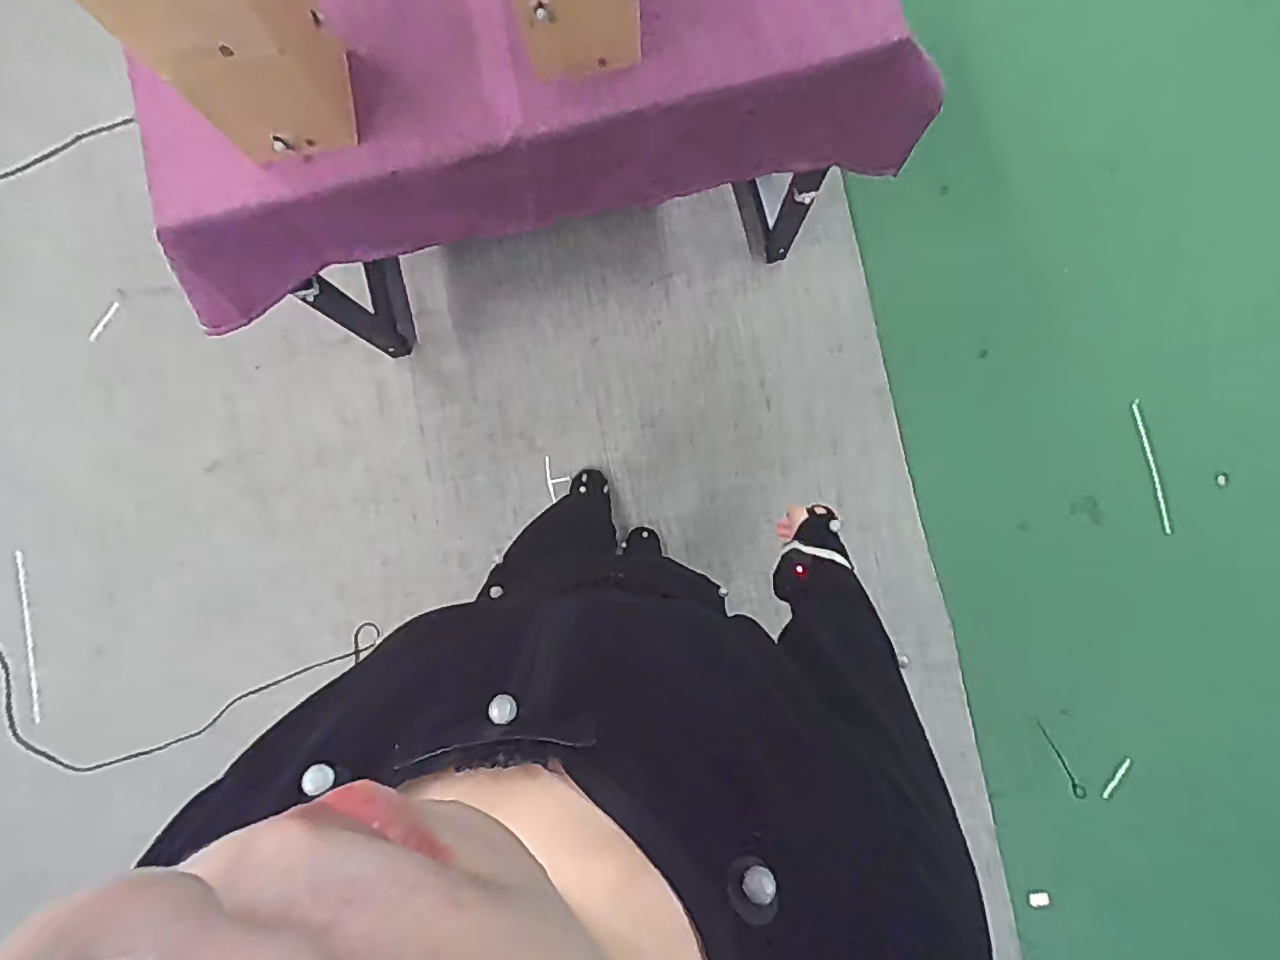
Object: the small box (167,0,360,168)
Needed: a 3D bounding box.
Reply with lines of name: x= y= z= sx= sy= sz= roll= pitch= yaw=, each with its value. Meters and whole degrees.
small box: x=-0.531 y=-0.592 z=0.776 sx=0.168 sy=0.176 sz=0.179 roll=-9 pitch=85 yaw=1
